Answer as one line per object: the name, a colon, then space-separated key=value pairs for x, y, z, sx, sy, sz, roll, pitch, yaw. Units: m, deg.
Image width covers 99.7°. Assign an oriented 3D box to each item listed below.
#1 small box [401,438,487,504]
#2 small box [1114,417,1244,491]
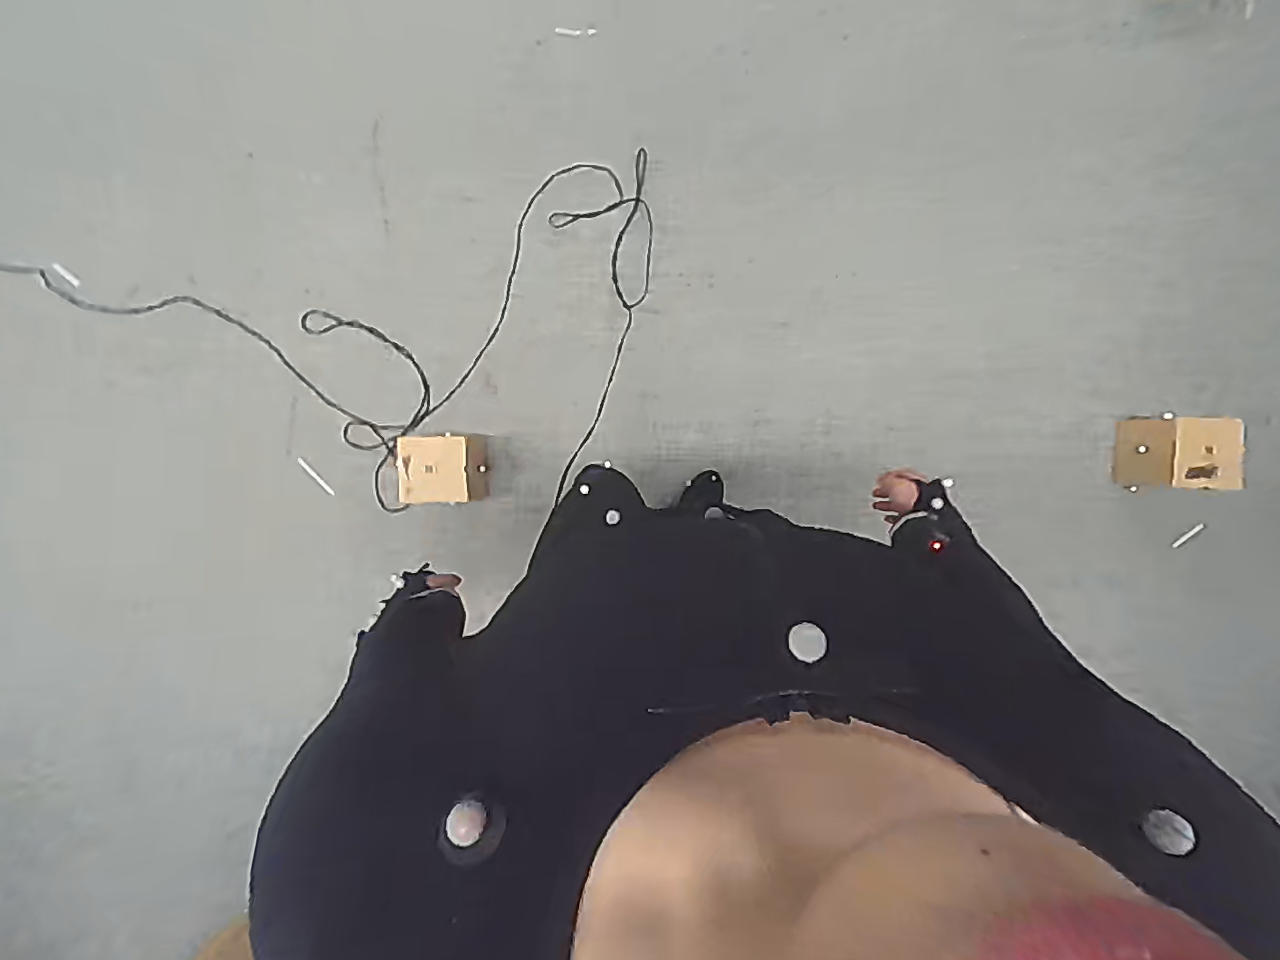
small box: x=-0.504 y=-0.027 z=1.417 sx=0.179 sy=0.176 sz=0.168 roll=-1 pitch=92 yaw=0
small box: x=1.372 y=-0.067 z=1.389 sx=0.168 sy=0.176 sz=0.179 roll=3 pitch=92 yaw=1
